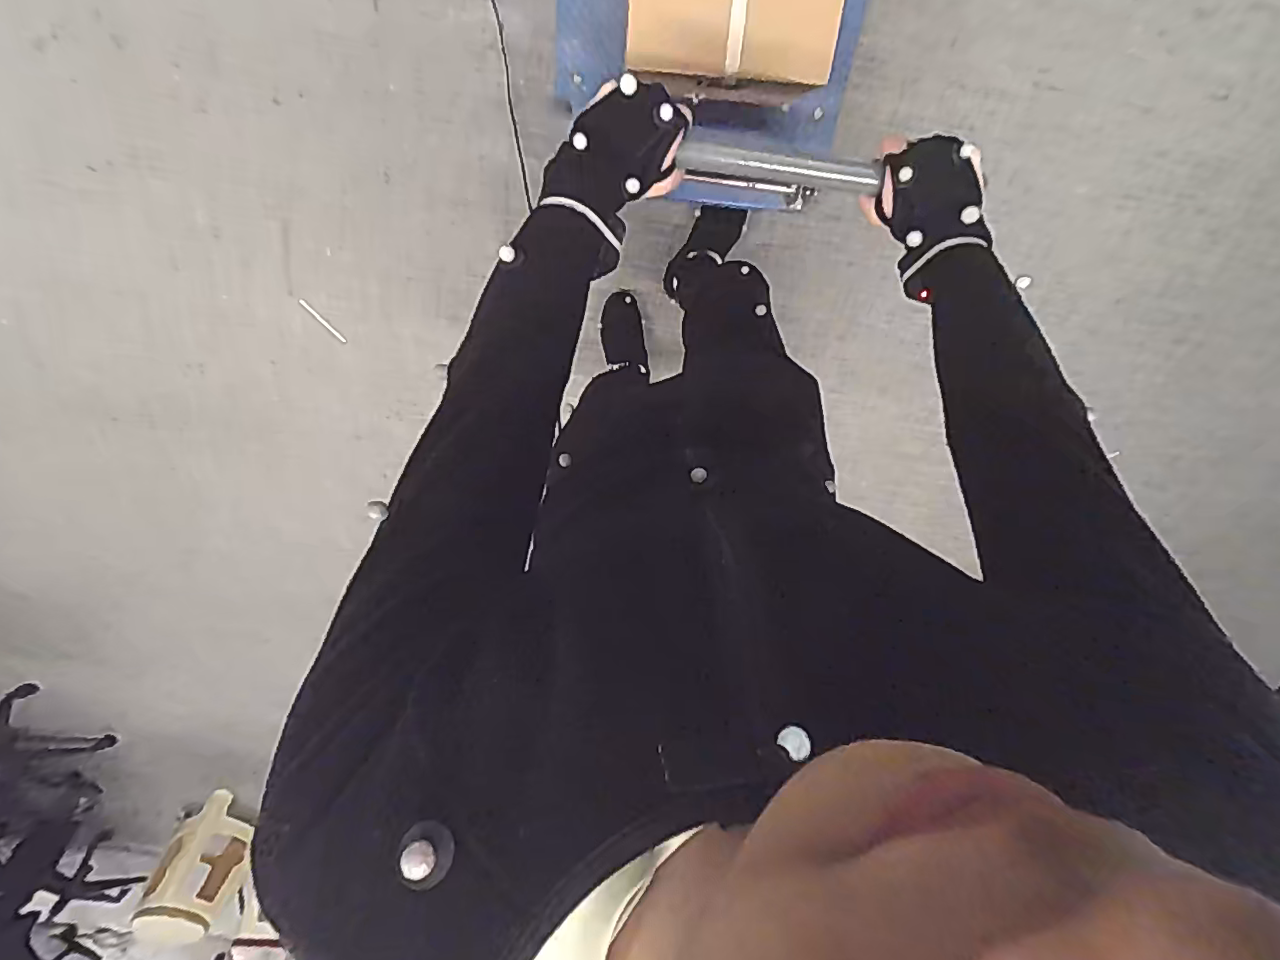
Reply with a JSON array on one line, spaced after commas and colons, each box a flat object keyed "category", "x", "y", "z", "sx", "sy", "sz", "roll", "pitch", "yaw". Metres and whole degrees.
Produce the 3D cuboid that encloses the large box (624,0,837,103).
[{"category": "large box", "x": 0.135, "y": -0.861, "z": 0.861, "sx": 0.320, "sy": 0.320, "sz": 0.408, "roll": 2, "pitch": 120, "yaw": -4}]
